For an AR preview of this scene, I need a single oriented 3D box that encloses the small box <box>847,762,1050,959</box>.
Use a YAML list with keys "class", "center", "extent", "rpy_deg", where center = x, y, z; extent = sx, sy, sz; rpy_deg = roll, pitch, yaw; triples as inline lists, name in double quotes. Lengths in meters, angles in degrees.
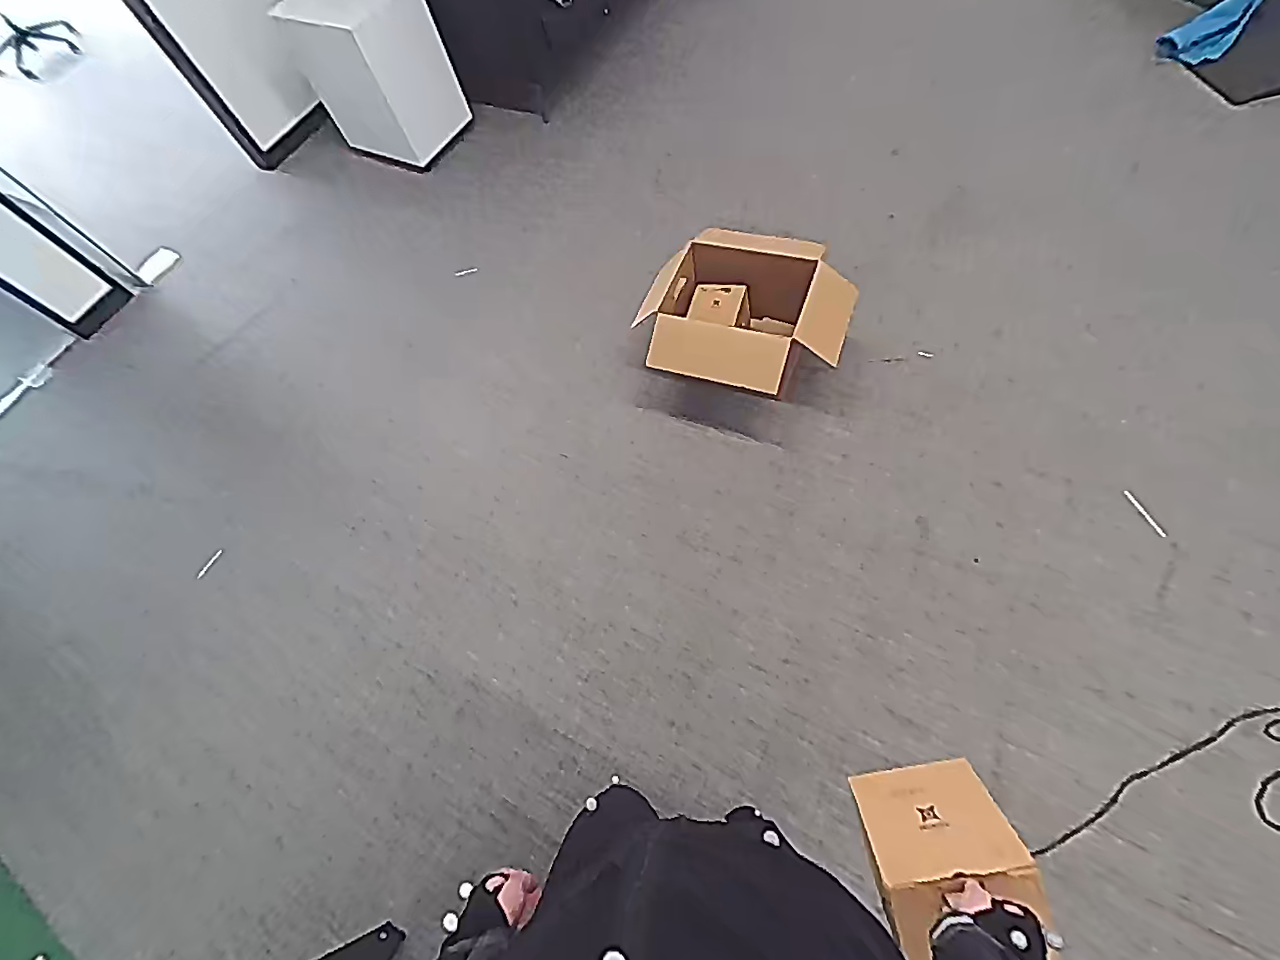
- class: "small box"
  center: [0.383, 0.502, 0.689]
  extent: [0.168, 0.179, 0.176]
  rpy_deg: [-13, 96, 9]
